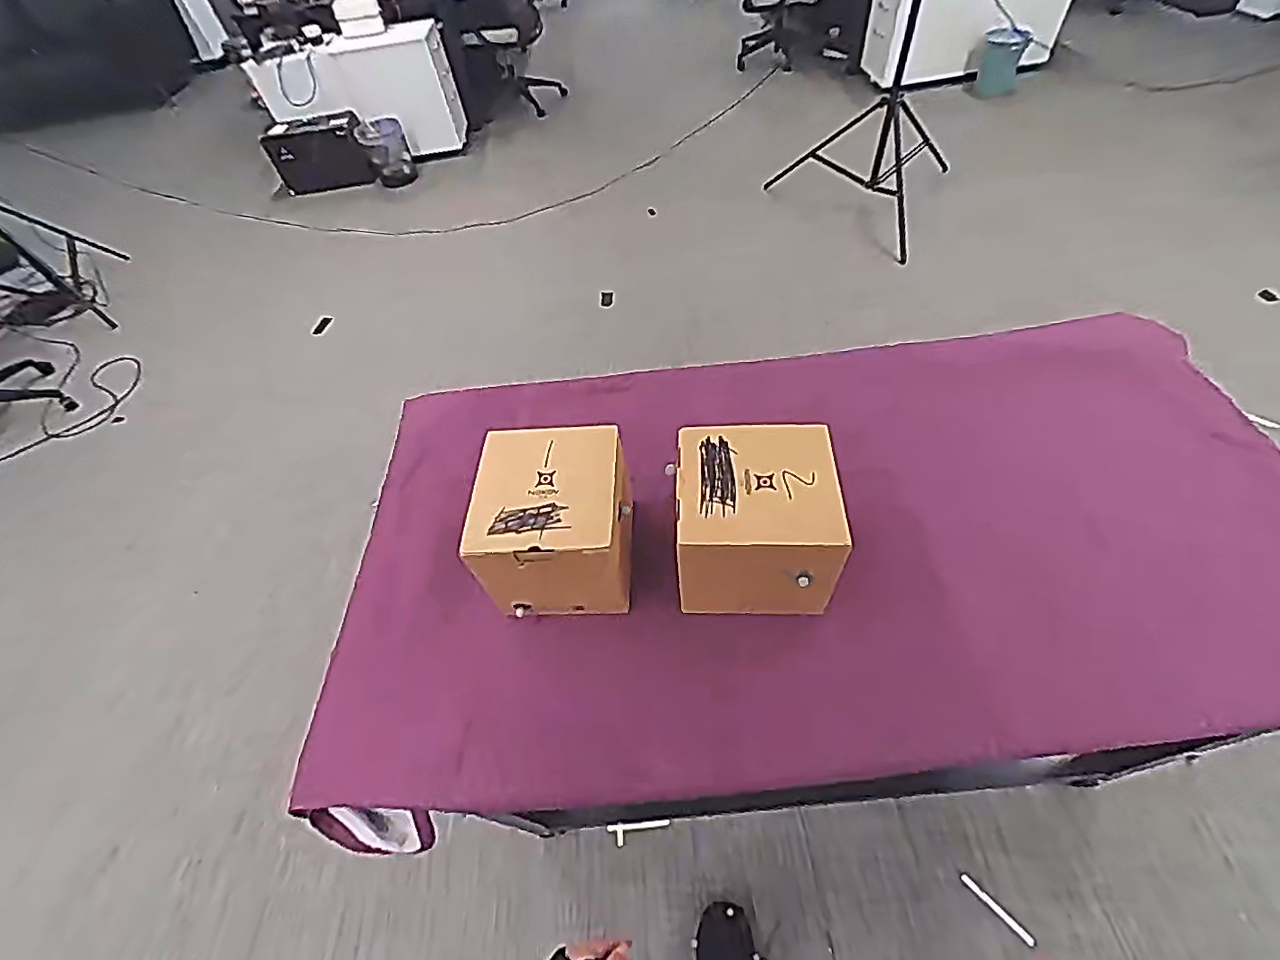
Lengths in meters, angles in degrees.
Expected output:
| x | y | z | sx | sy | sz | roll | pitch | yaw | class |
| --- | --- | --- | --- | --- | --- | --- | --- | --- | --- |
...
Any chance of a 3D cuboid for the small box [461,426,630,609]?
| x | y | z | sx | sy | sz | roll | pitch | yaw | class |
| --- | --- | --- | --- | --- | --- | --- | --- | --- | --- |
| -0.103 | 0.055 | 0.683 | 0.168 | 0.176 | 0.179 | -2 | 53 | 5 | small box |
